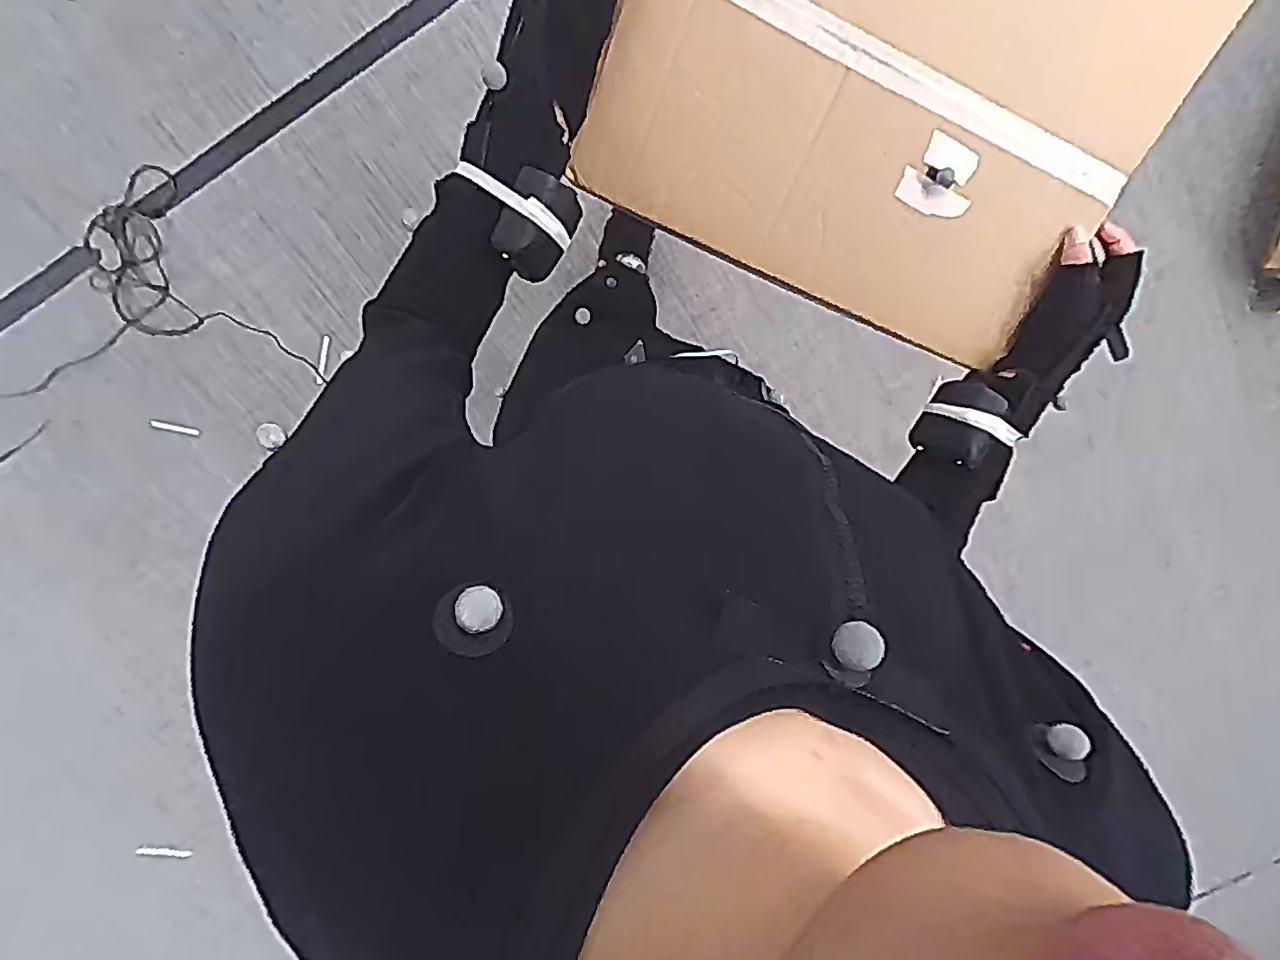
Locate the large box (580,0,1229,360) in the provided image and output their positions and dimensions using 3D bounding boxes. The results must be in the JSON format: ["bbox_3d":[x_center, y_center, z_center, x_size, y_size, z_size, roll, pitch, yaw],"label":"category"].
[{"bbox_3d":[0.186,-0.365,0.539,0.408,0.320,0.320,21,114,-11],"label":"large box"}]
